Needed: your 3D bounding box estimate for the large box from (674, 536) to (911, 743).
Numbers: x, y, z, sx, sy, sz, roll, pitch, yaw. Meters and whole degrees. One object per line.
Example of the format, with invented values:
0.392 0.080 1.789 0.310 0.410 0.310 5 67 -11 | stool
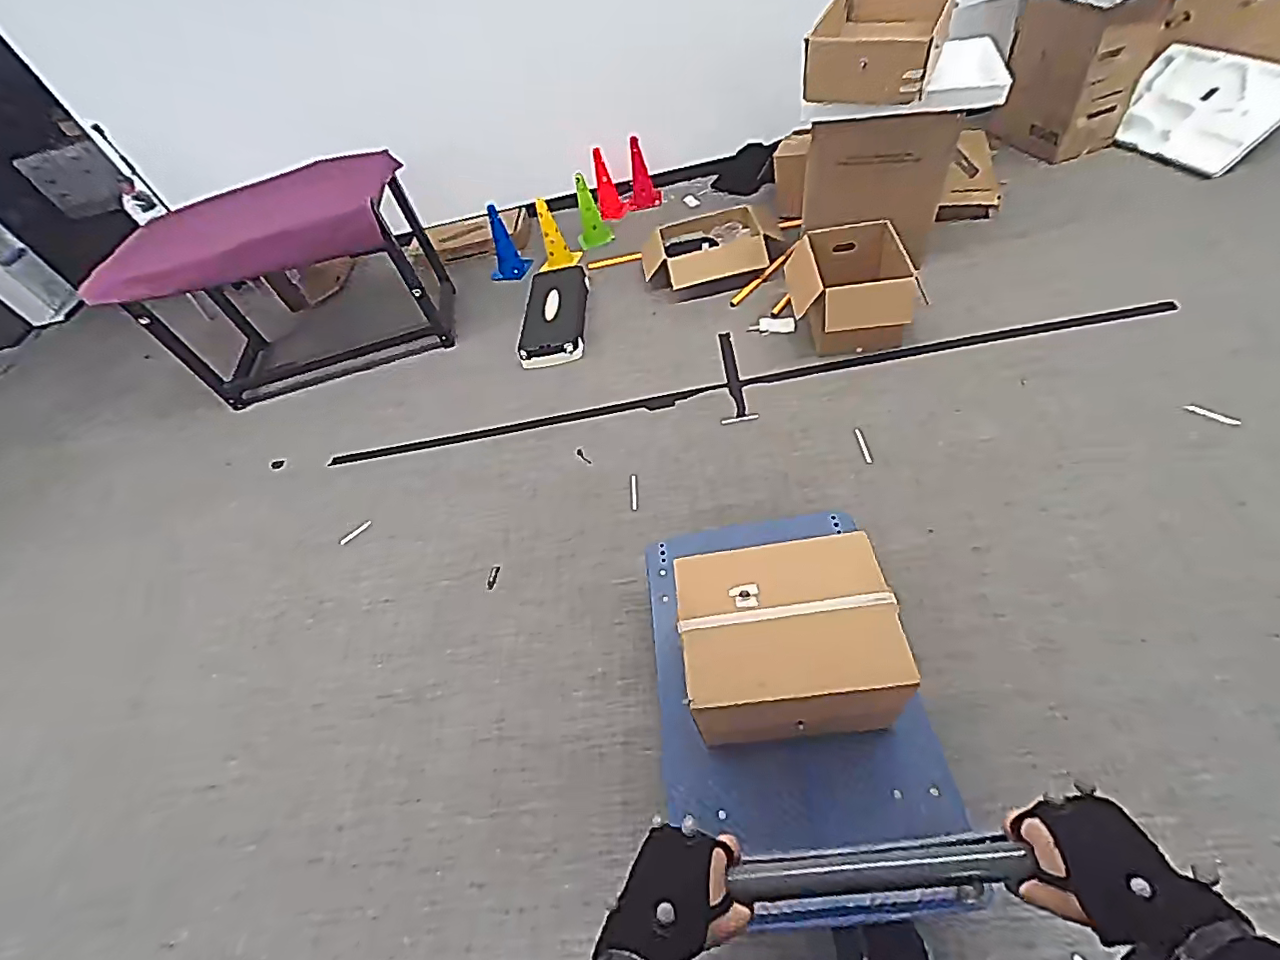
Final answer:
0.308 0.359 1.179 0.408 0.320 0.320 -10 50 8 | large box
